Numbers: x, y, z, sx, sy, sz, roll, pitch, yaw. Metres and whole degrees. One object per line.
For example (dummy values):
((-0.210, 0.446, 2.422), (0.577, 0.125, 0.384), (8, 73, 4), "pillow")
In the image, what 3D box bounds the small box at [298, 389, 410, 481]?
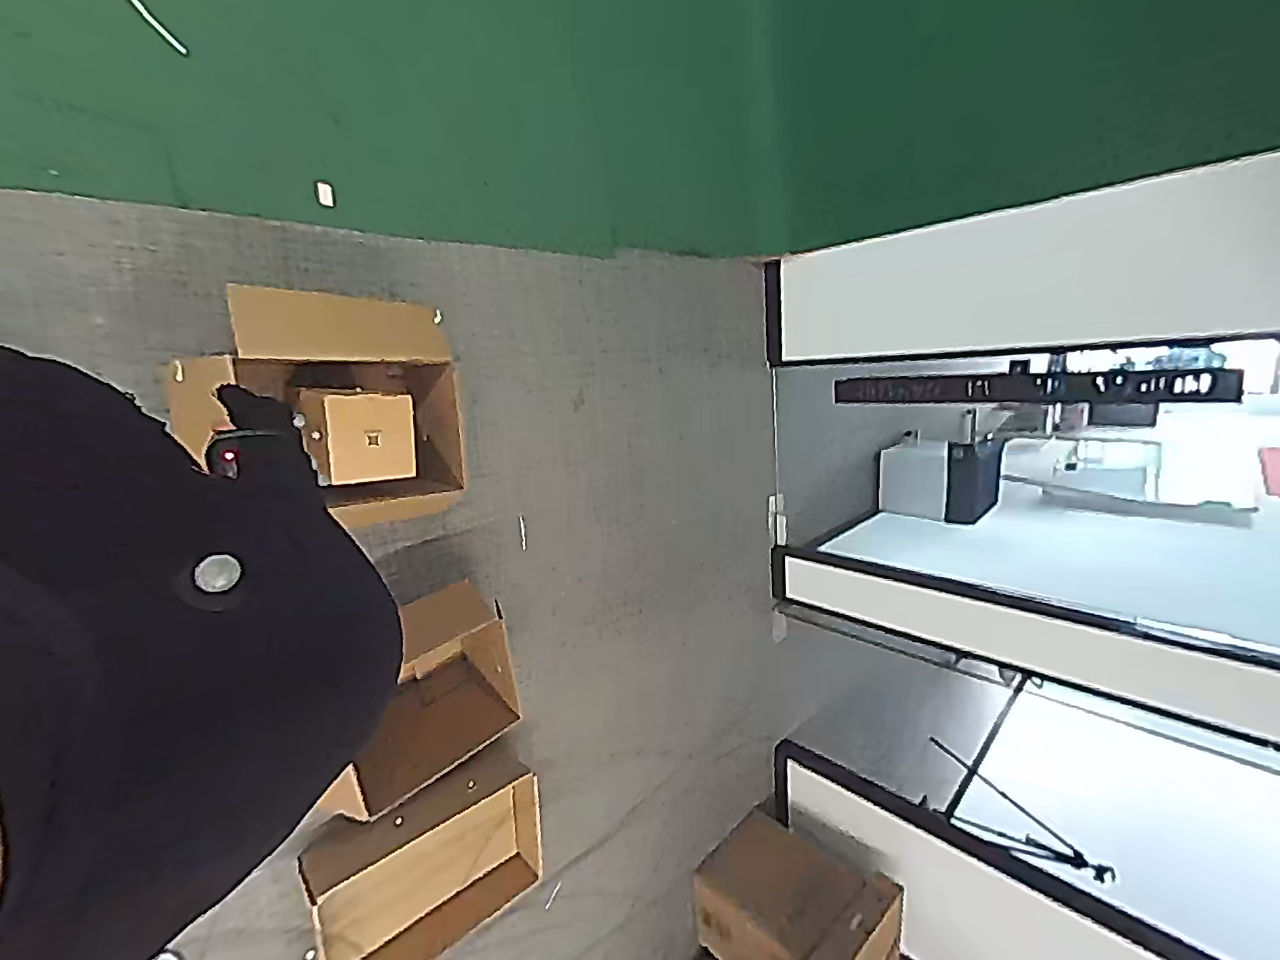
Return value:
((-0.606, -0.102, 1.144), (0.168, 0.176, 0.179), (-9, 103, -44), "small box")
